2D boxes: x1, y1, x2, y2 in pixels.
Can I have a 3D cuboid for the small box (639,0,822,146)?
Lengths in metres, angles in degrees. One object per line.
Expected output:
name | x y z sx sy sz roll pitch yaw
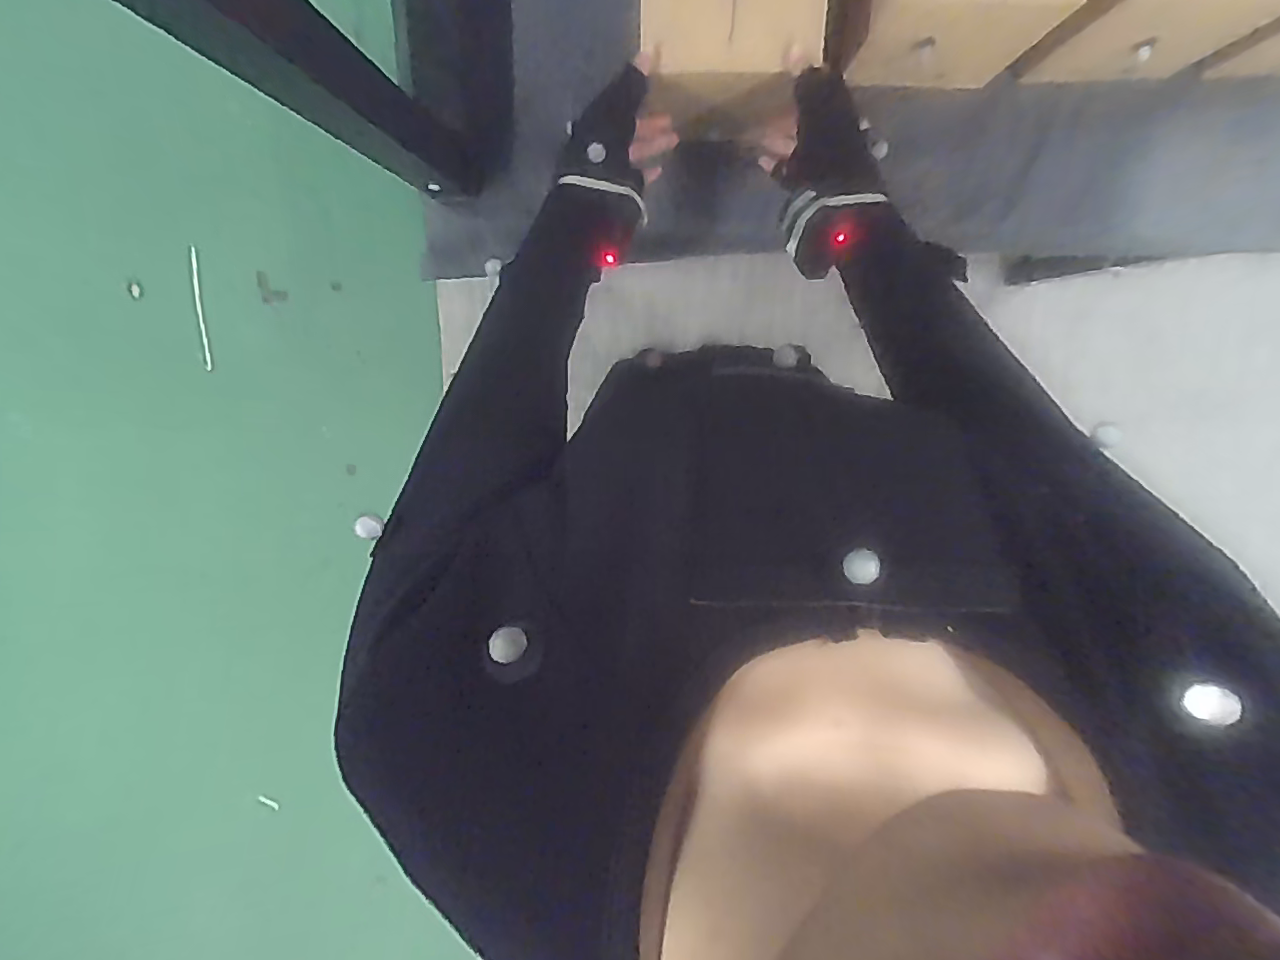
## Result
small box | 0.084 -0.472 0.556 0.168 0.176 0.179 1 104 2
